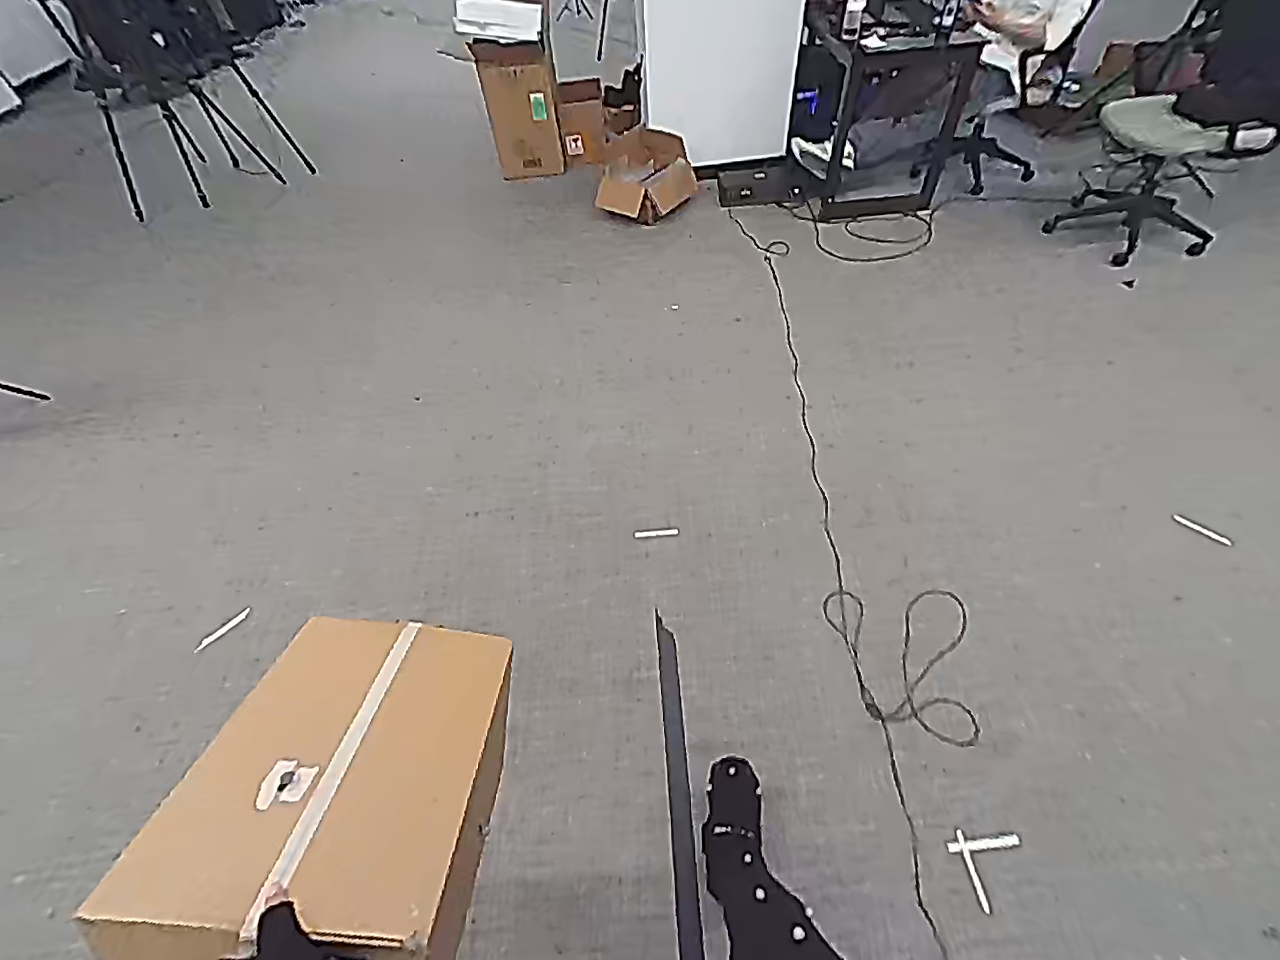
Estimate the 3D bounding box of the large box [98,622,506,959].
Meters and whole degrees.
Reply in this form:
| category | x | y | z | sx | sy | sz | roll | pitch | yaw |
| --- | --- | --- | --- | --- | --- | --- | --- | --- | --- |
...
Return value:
| category | x | y | z | sx | sy | sz | roll | pitch | yaw |
| --- | --- | --- | --- | --- | --- | --- | --- | --- | --- |
| large box | -0.386 | 0.465 | 0.754 | 0.320 | 0.320 | 0.408 | 8 | 27 | -5 |
